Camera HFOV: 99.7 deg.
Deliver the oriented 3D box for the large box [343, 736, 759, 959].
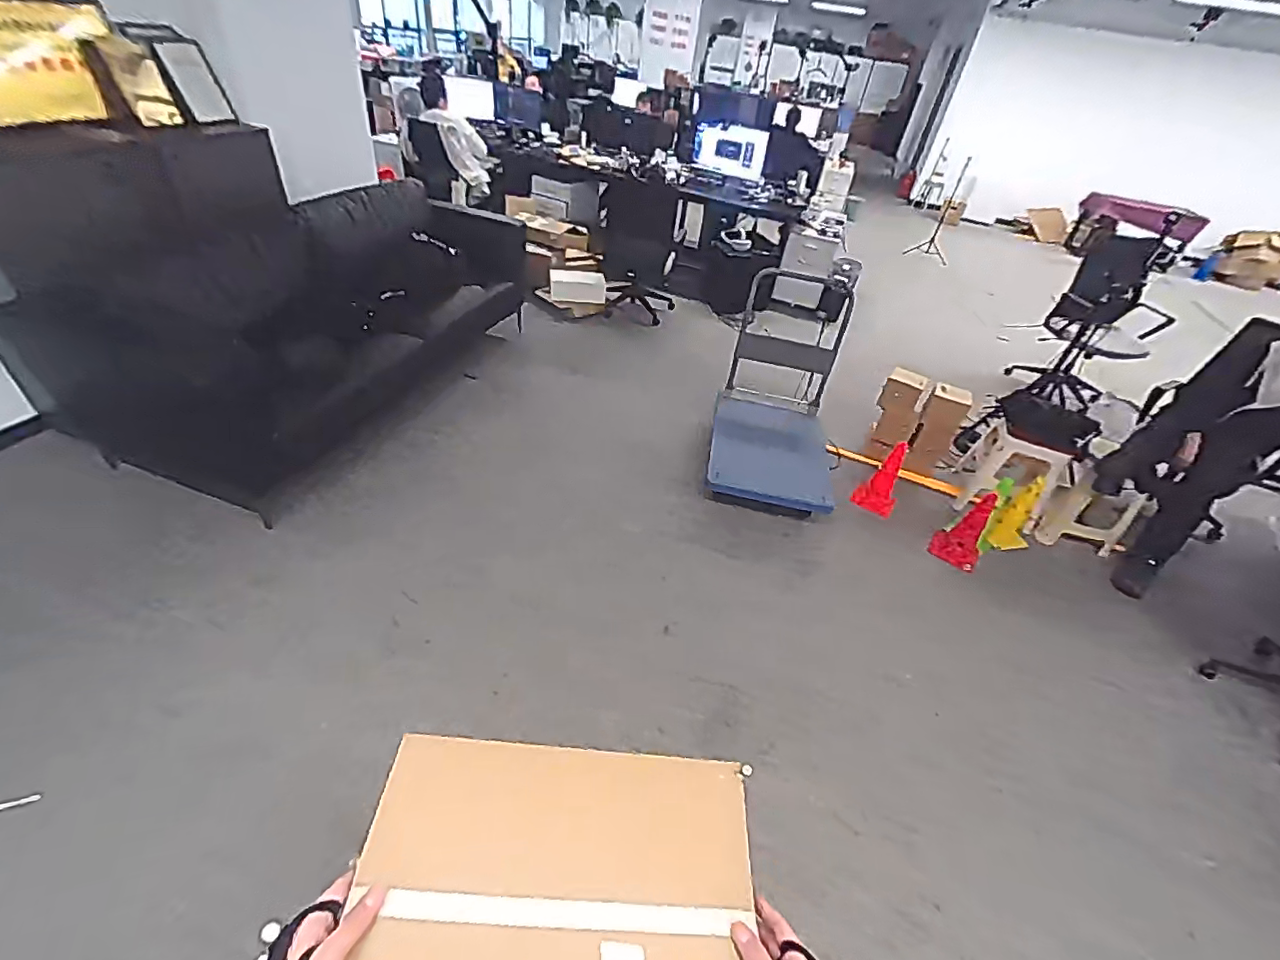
[{"bbox_3d":[-0.100,0.538,0.647,0.408,0.320,0.320,7,43,-5],"label":"large box"}]
